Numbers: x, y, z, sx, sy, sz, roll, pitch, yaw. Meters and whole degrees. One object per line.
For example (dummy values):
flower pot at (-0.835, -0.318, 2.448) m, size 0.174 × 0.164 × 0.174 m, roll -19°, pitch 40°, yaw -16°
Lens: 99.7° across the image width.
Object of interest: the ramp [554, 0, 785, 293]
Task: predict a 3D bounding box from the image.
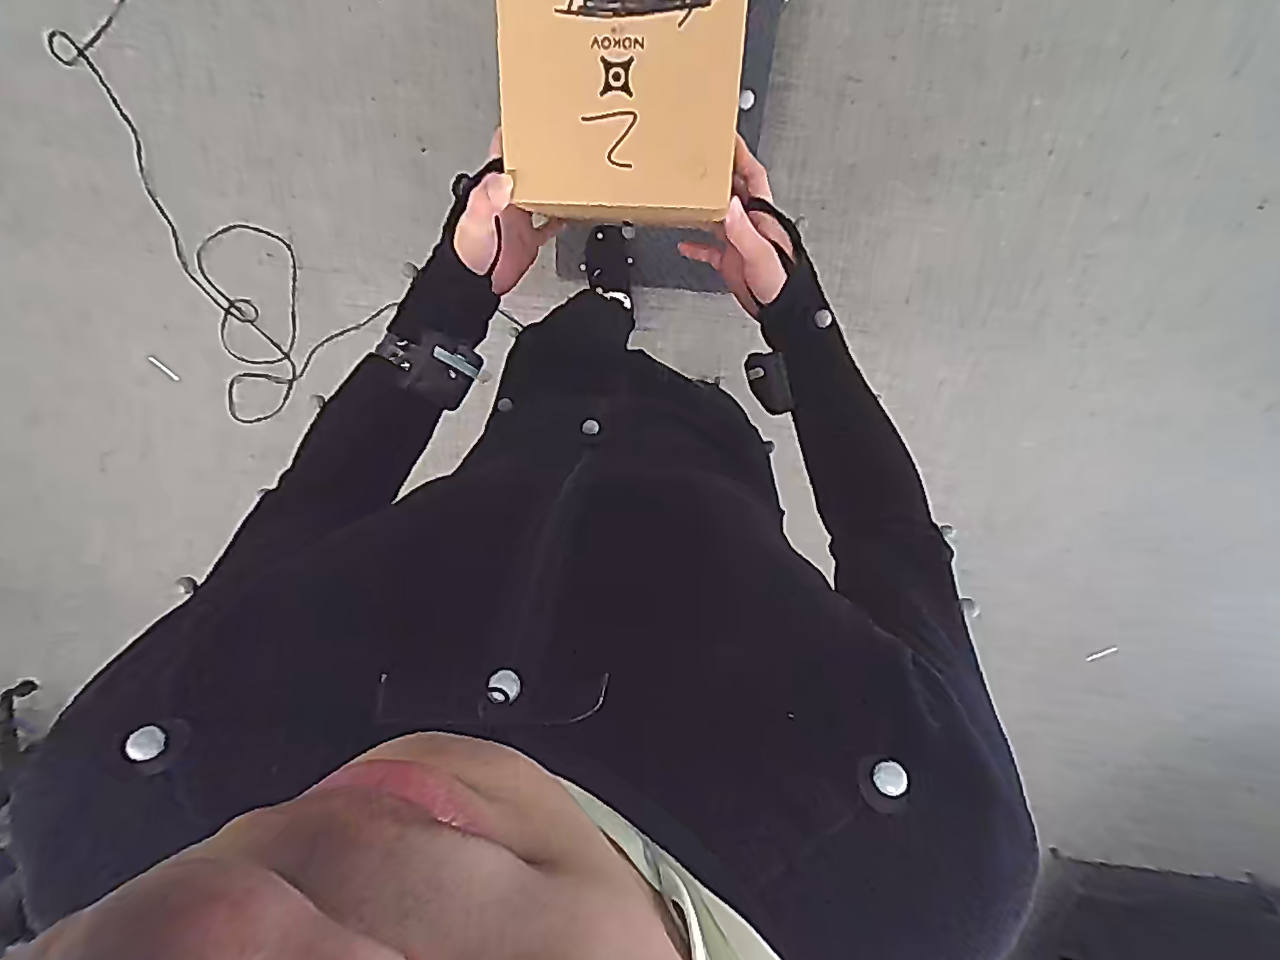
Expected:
ramp at (0.056, -0.941, 1.191) m, size 0.509 × 0.206 × 0.991 m, roll 3°, pitch 113°, yaw 1°
